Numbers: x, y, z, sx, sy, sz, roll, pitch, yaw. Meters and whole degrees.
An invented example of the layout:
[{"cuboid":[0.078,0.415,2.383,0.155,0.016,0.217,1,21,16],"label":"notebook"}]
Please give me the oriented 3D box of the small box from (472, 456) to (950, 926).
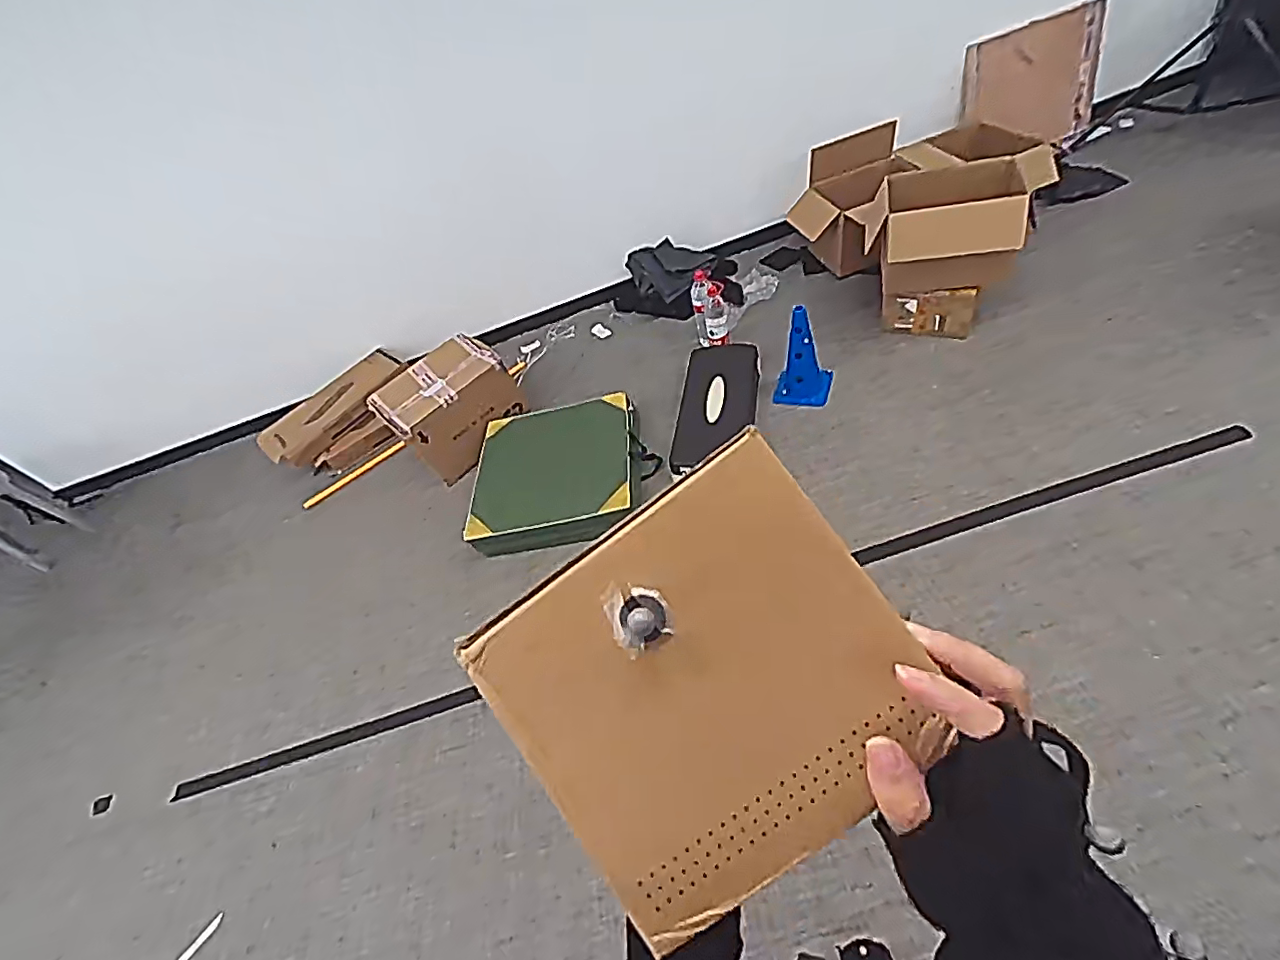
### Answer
[{"cuboid":[0.040,0.109,0.335,0.179,0.168,0.176,-37,85,3],"label":"small box"}]
